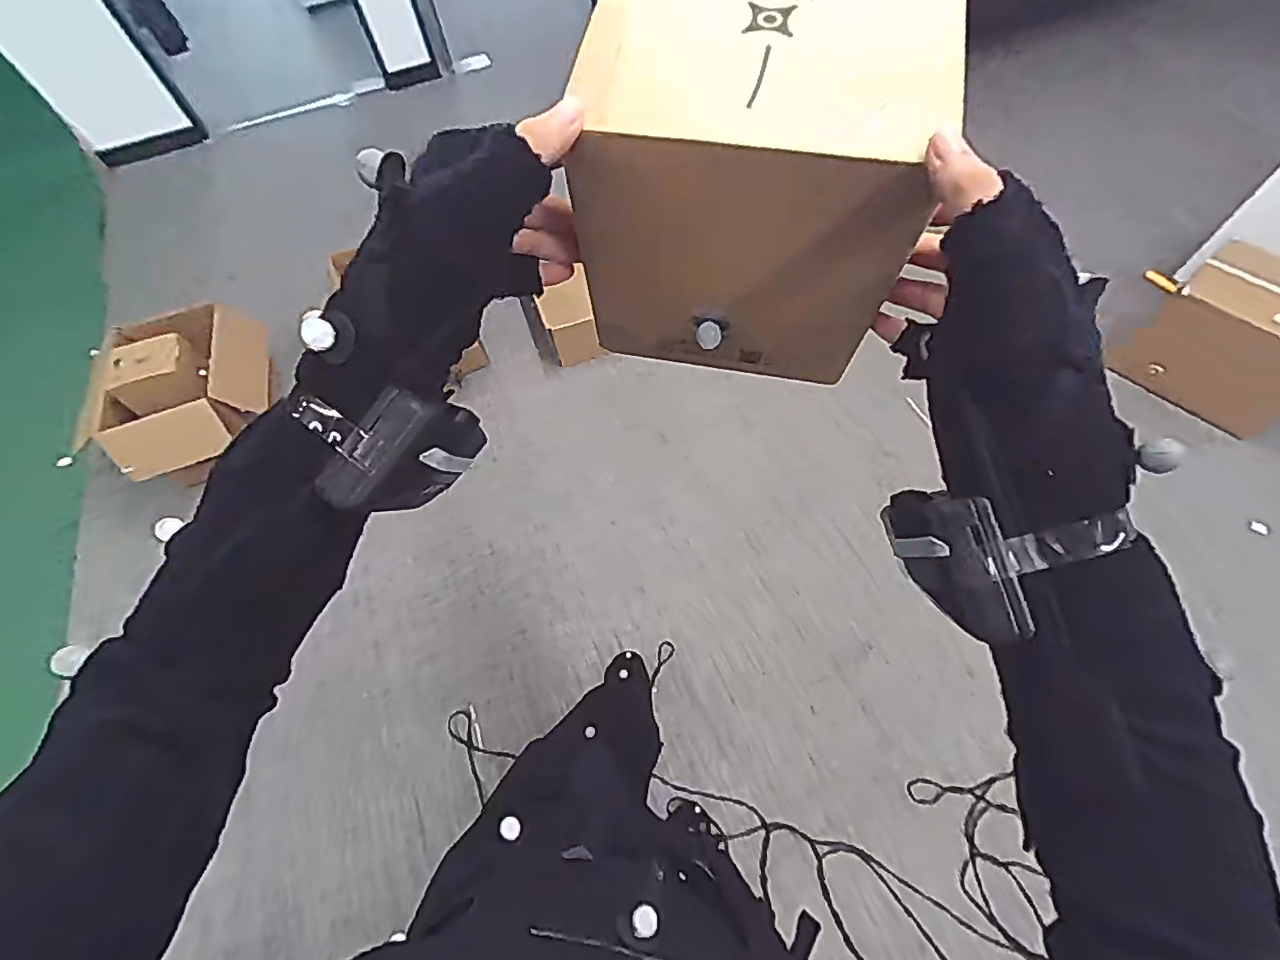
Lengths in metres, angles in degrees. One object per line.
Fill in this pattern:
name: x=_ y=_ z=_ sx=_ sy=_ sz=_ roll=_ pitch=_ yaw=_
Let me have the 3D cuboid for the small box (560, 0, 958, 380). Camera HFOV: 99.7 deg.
small box: x=0.064 y=-0.187 z=0.326 sx=0.168 sy=0.176 sz=0.179 roll=10 pitch=71 yaw=7
